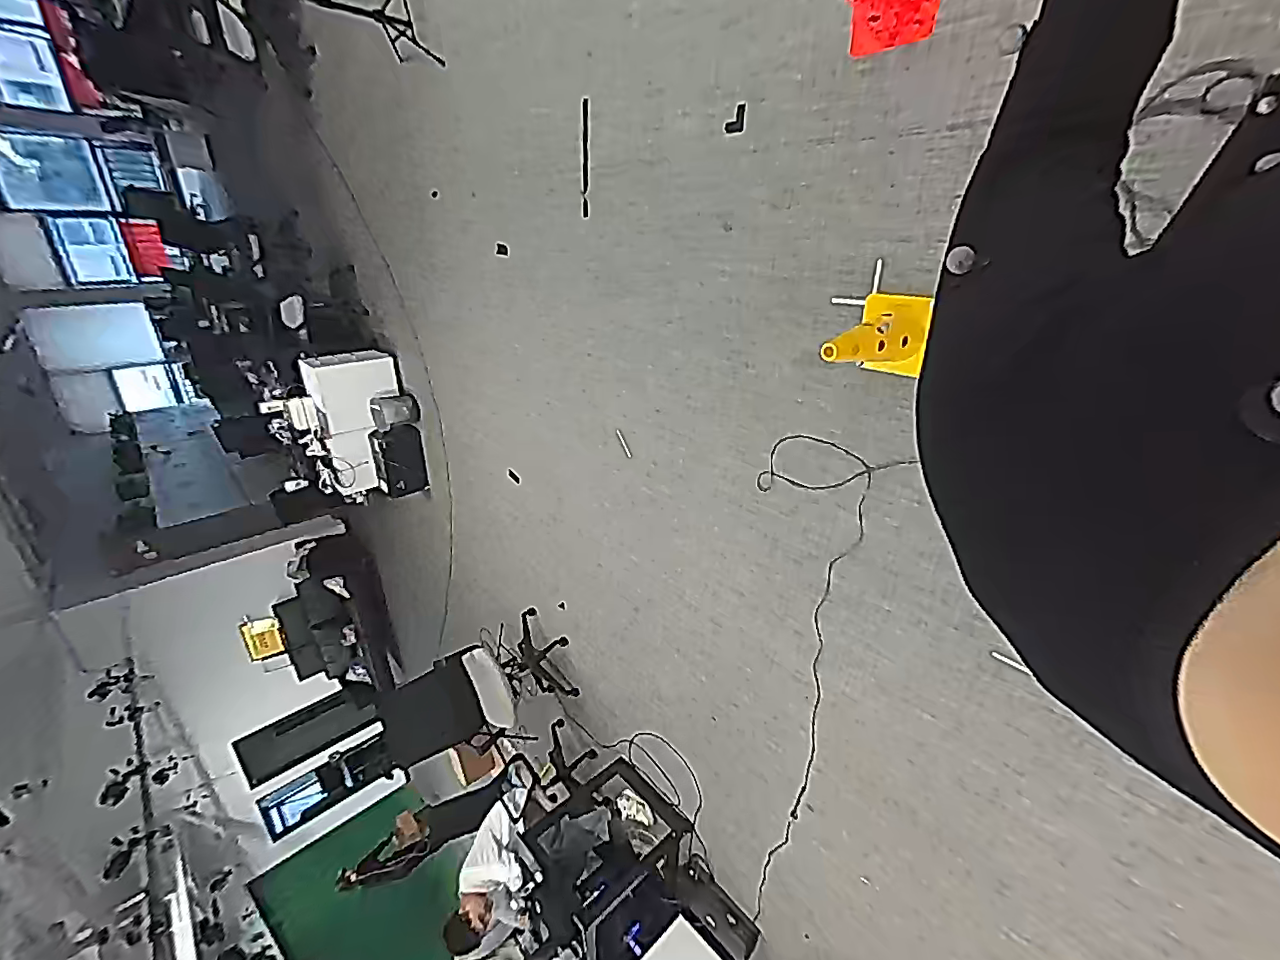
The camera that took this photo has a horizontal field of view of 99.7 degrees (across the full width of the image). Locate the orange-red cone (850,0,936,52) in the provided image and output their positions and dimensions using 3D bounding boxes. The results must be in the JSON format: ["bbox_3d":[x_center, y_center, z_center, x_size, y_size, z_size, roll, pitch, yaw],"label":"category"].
[{"bbox_3d":[0.449,-1.055,1.116,0.198,0.360,0.199,24,125,43],"label":"orange-red cone"}]
